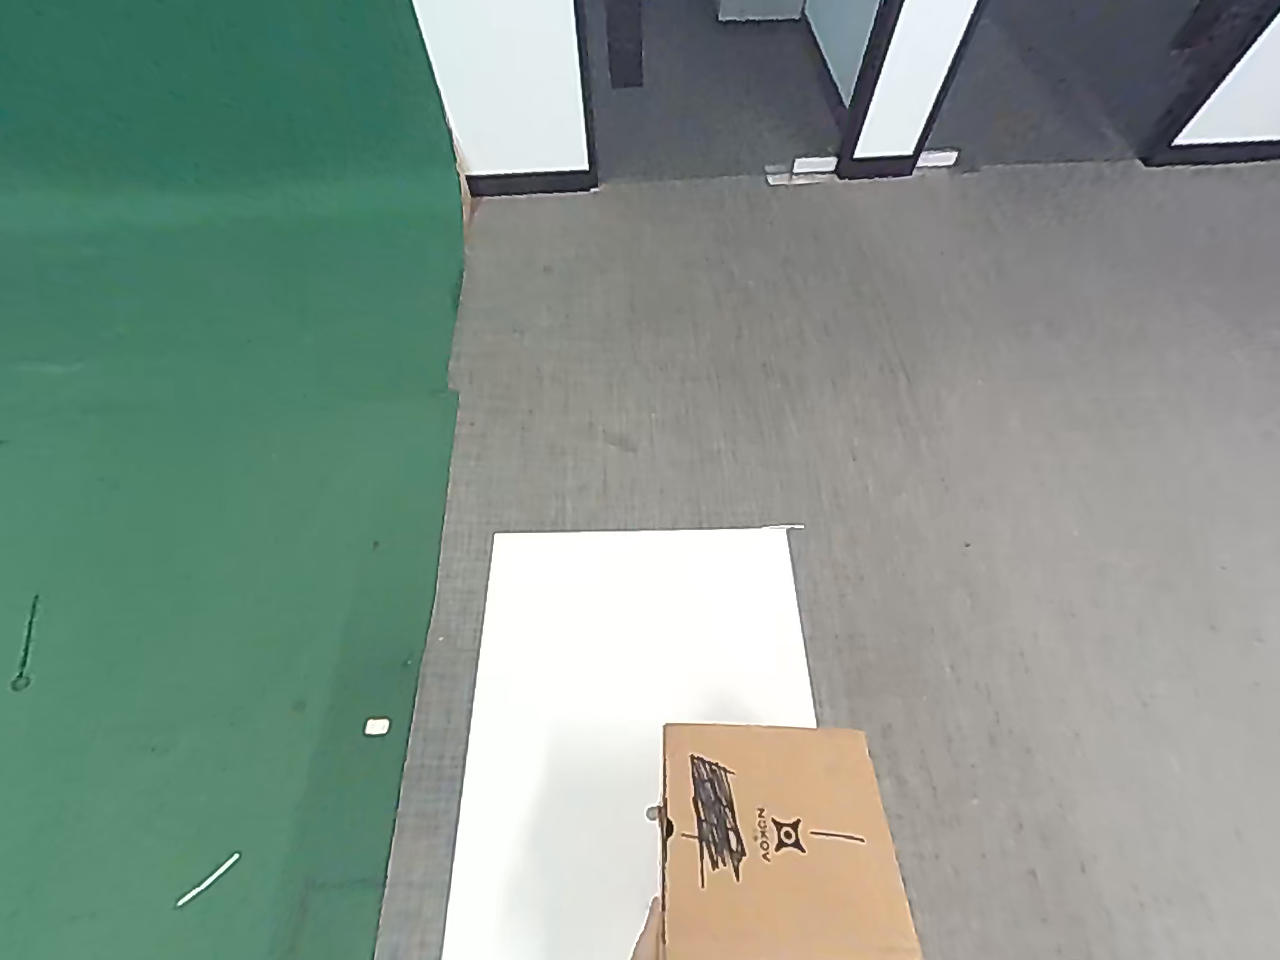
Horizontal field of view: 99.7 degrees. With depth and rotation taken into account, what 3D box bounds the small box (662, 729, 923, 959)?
[{"bbox_3d":[0.109,0.338,0.470,0.179,0.176,0.168,2,42,2],"label":"small box"}]
